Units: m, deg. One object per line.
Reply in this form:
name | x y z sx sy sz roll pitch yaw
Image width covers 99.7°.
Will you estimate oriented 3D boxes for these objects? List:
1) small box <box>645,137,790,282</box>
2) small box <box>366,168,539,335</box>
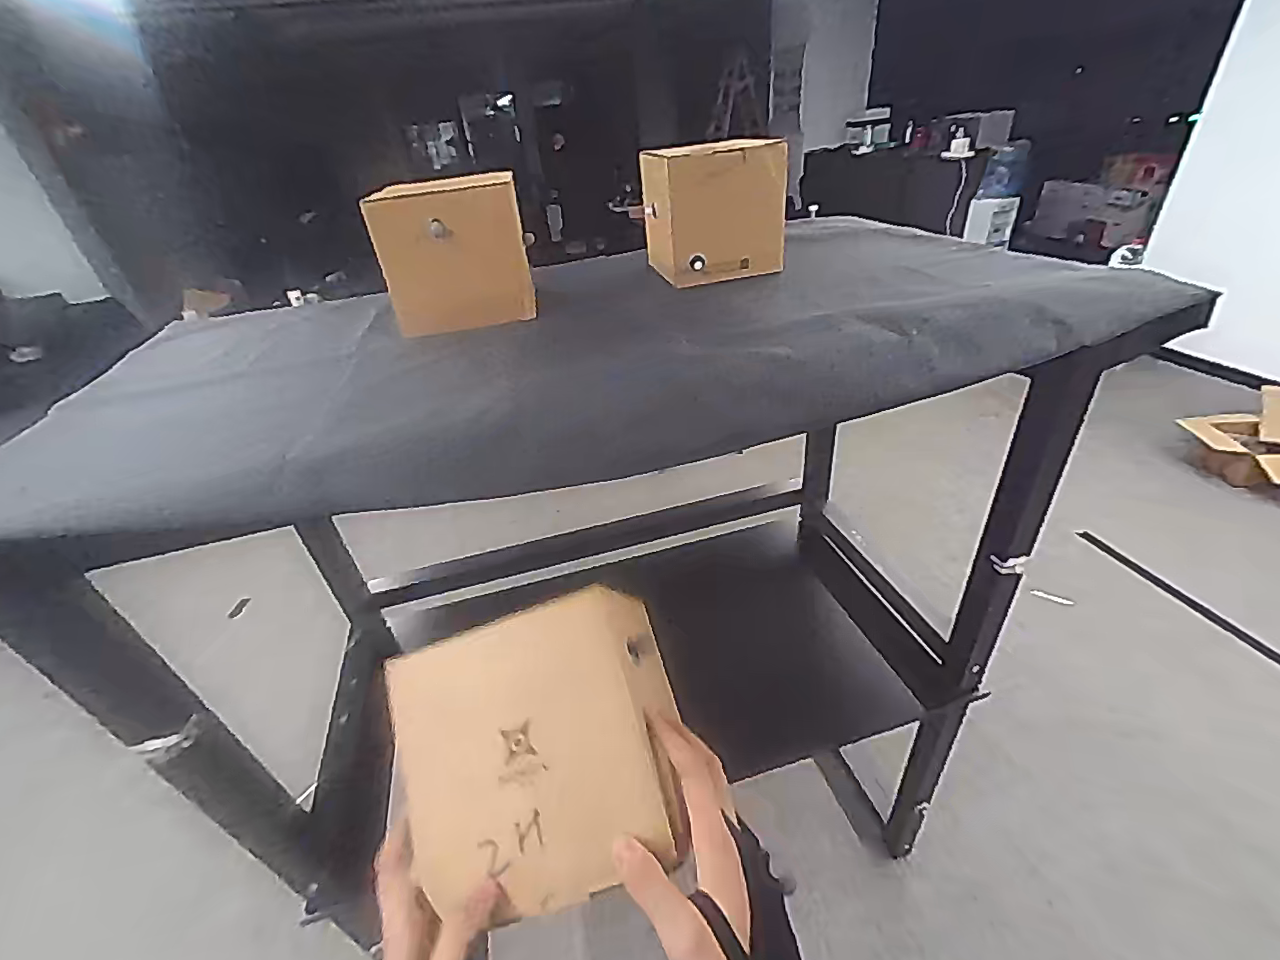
small box | 0.111 -0.403 0.811 0.168 0.176 0.179 -11 34 -7
small box | -0.237 -0.314 0.739 0.179 0.176 0.168 -10 35 -5
